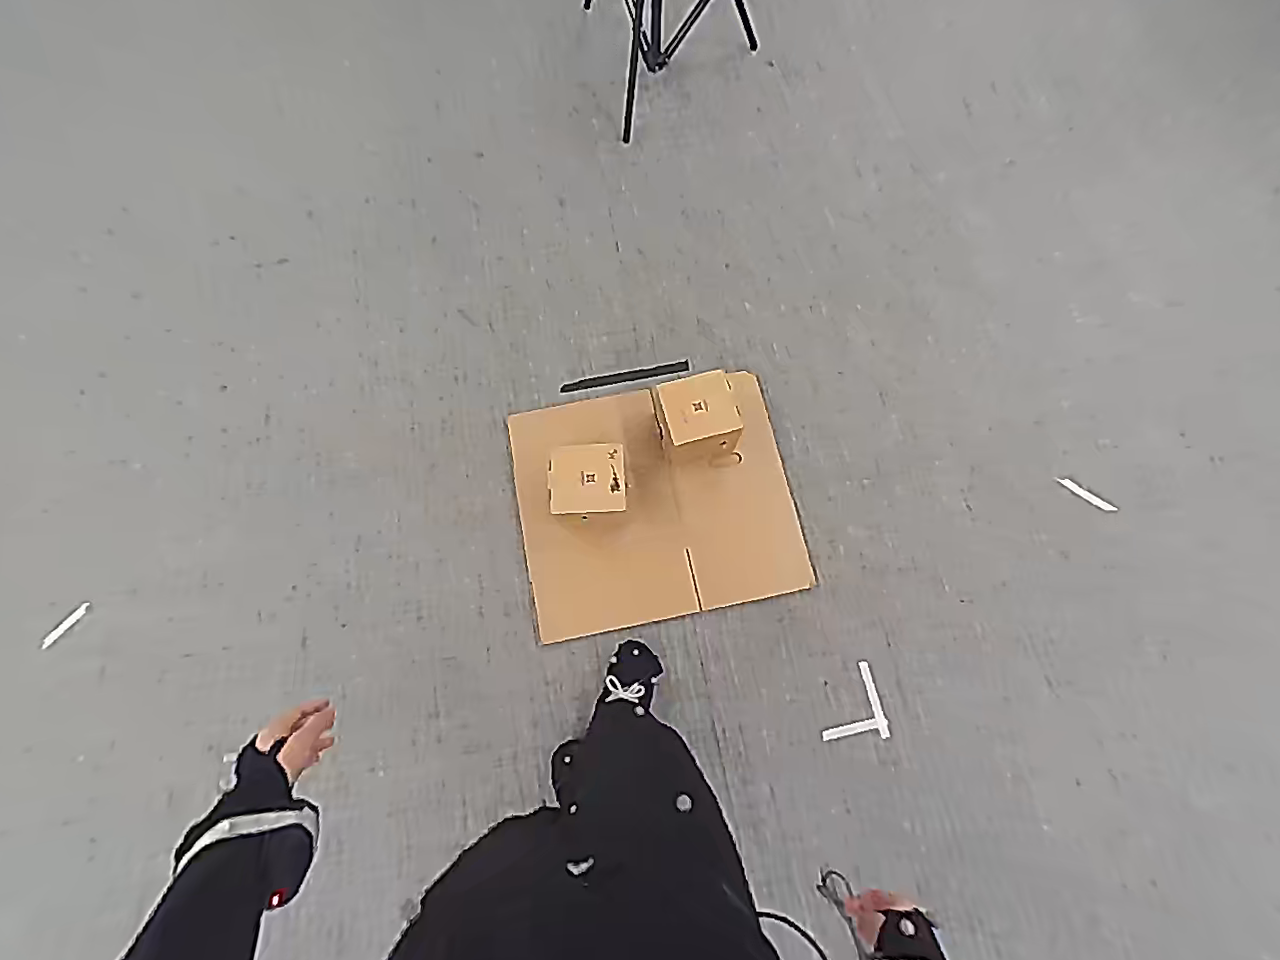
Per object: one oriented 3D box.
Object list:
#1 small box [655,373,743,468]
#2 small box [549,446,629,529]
[{"bbox_3d":[0.142,-0.145,1.373,0.179,0.176,0.168,-16,74,-4],"label":"small box"},{"bbox_3d":[-0.120,0.024,1.324,0.179,0.176,0.168,-3,75,1],"label":"small box"}]
